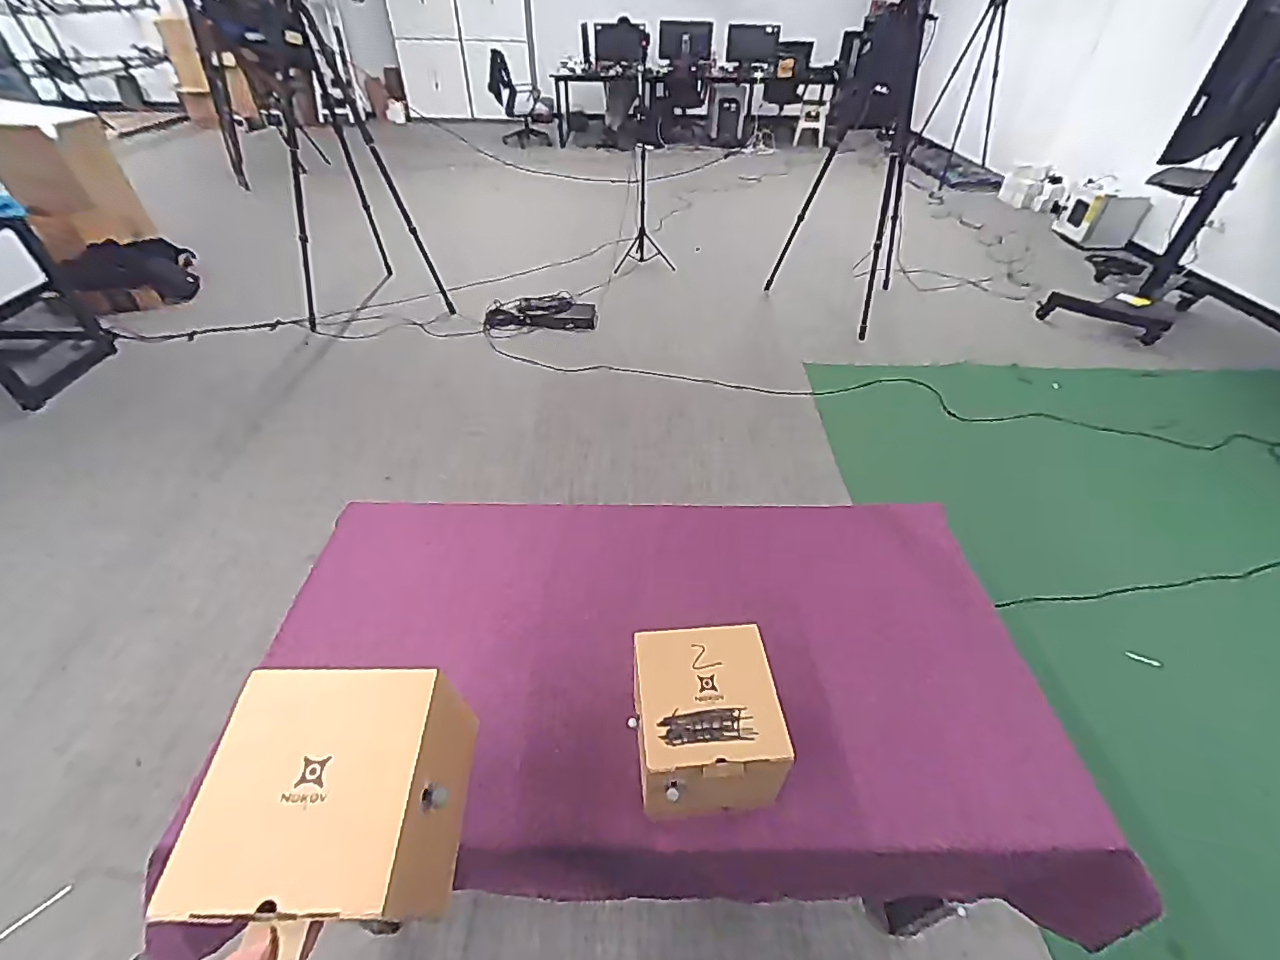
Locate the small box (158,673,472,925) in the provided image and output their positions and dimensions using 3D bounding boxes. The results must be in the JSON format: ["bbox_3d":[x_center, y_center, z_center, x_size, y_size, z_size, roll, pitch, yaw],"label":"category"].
[{"bbox_3d":[-0.263,0.294,0.497,0.168,0.176,0.179,1,51,-1],"label":"small box"}]
